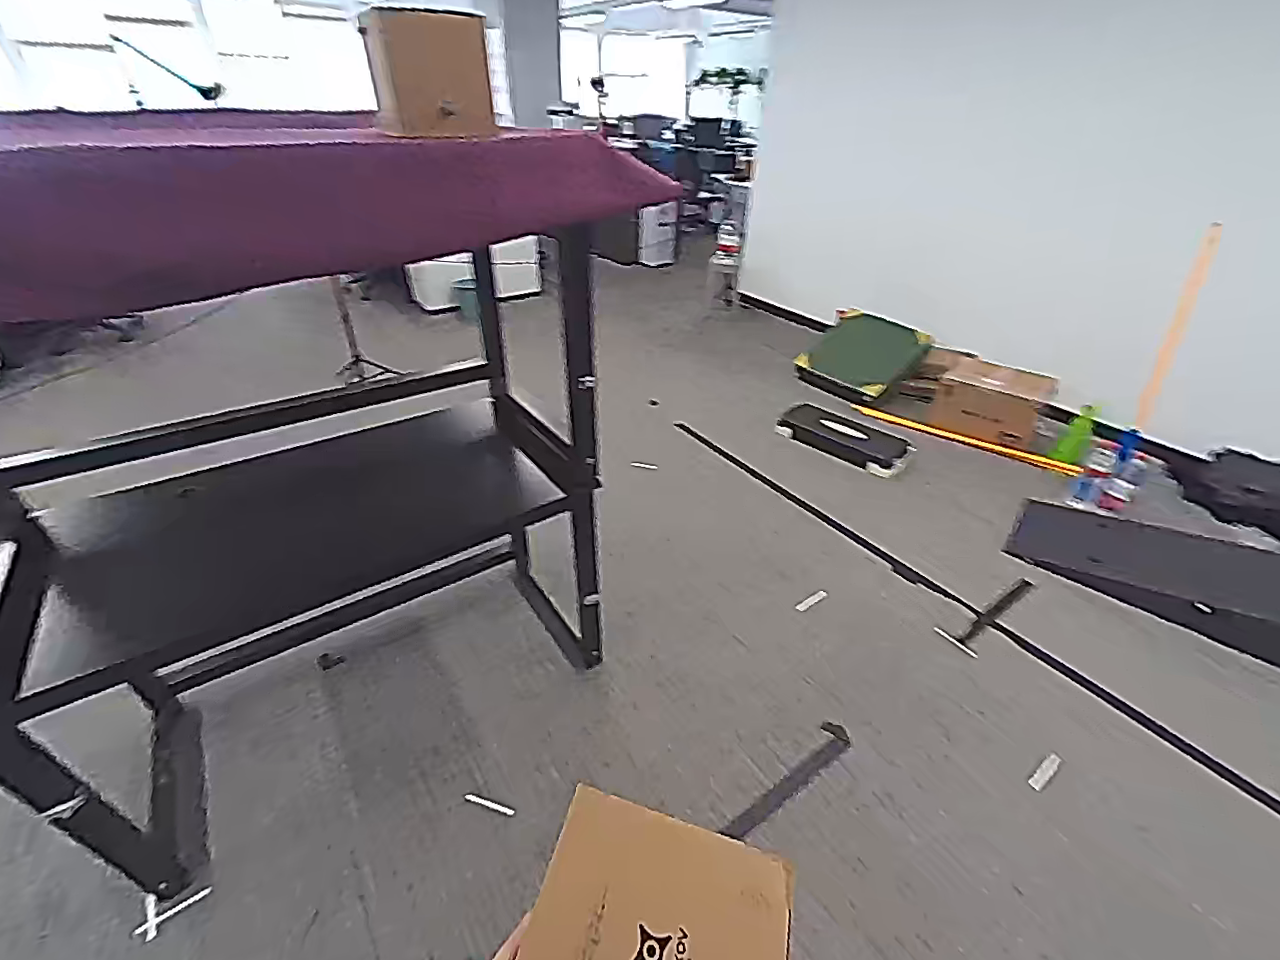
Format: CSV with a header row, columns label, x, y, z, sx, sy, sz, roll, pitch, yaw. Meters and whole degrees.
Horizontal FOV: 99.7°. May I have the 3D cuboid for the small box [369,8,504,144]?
label,x,y,z,sx,sy,sz,roll,pitch,yaw
small box,-0.344,-0.687,0.934,0.179,0.176,0.168,-19,38,-27

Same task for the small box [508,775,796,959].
label,x,y,z,sx,sy,sz,roll,pitch,yaw
small box,0.001,0.364,0.404,0.179,0.176,0.168,15,39,10
